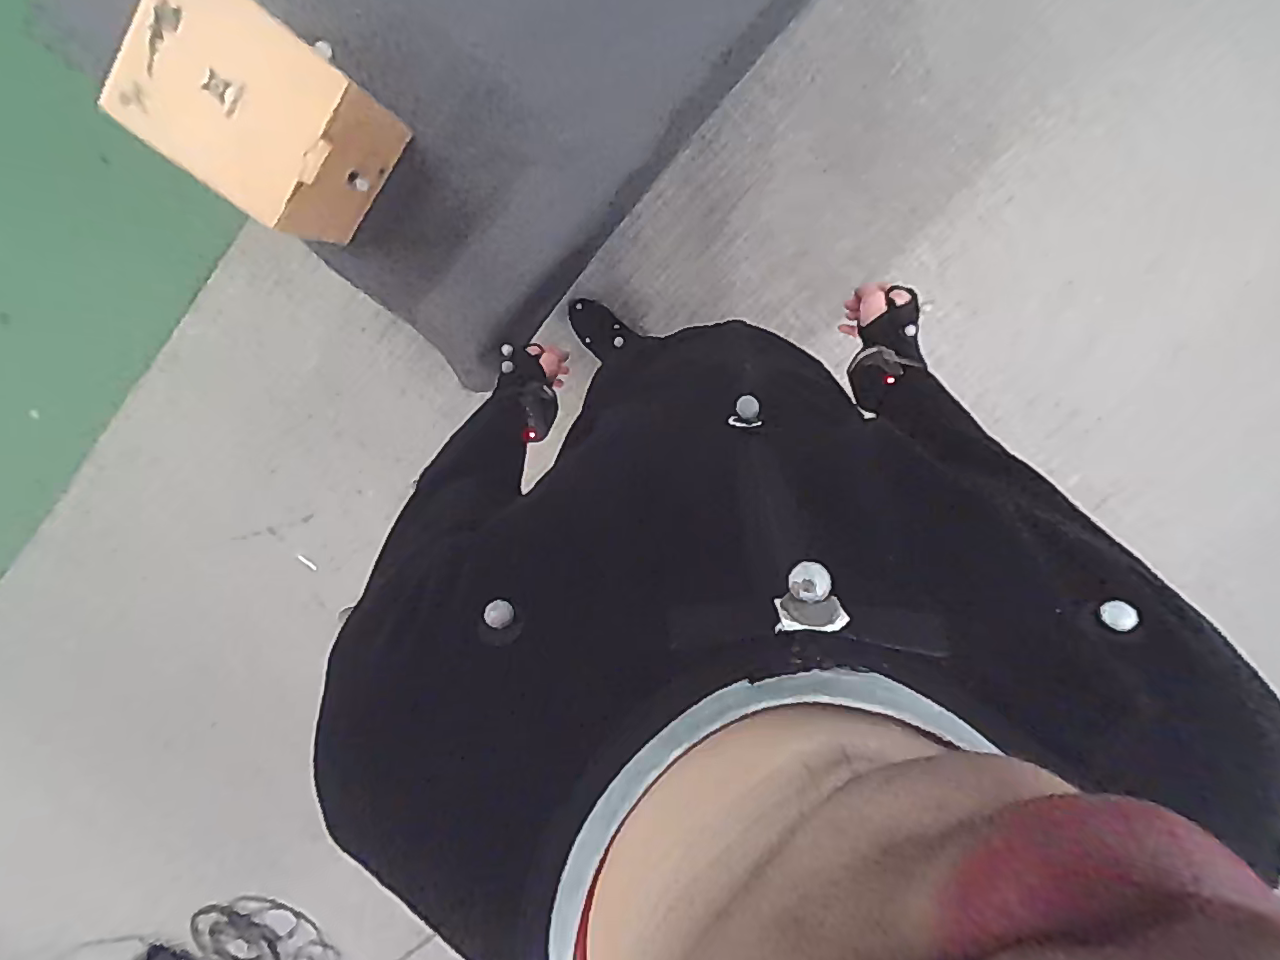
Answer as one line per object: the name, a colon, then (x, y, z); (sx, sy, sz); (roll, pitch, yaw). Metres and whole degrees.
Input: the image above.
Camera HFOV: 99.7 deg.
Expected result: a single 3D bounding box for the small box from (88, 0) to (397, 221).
small box: (-0.393, -0.399, 0.571); (0.179, 0.176, 0.168); (36, 104, -16)
